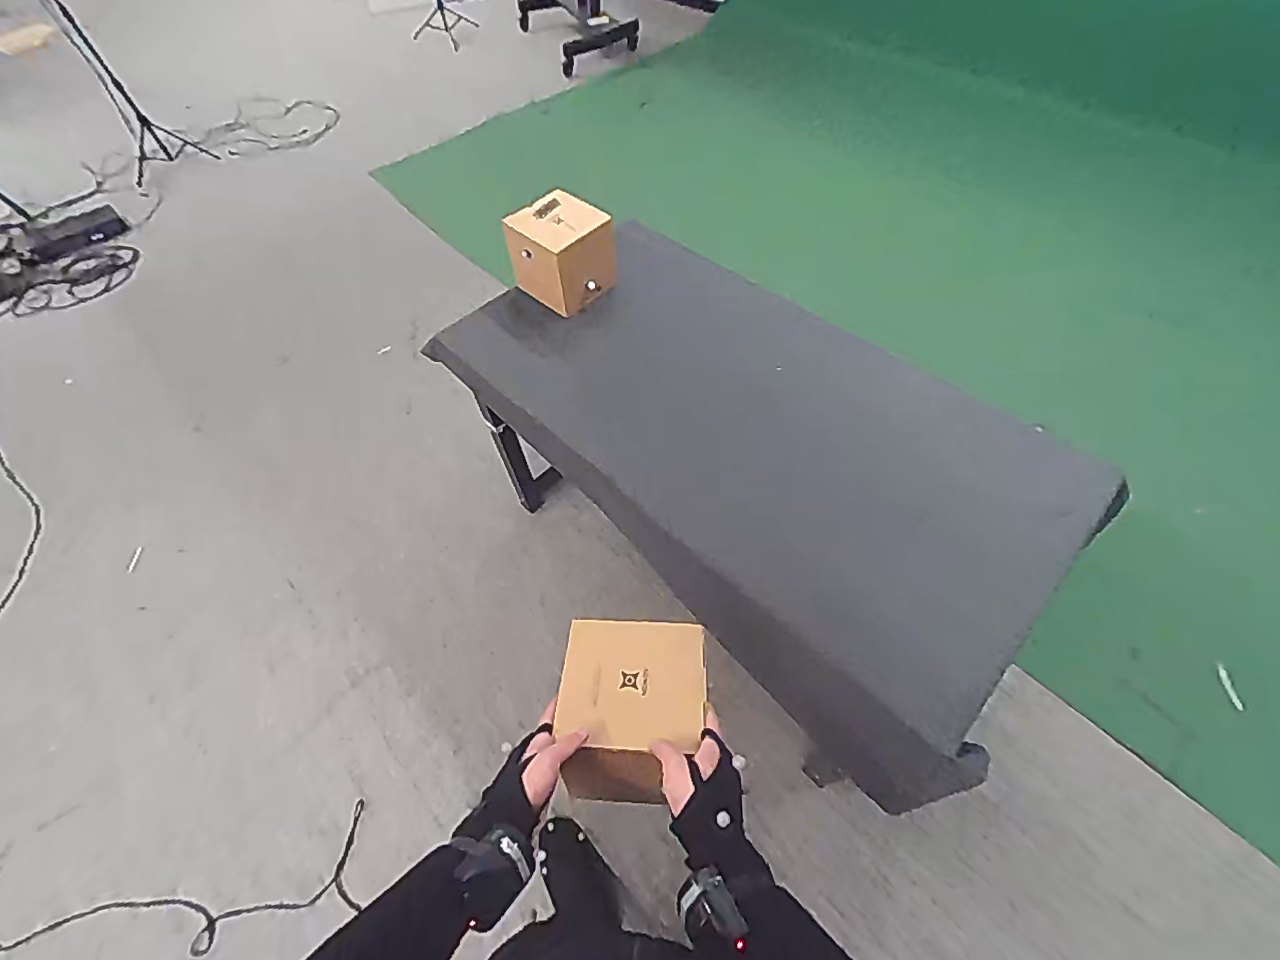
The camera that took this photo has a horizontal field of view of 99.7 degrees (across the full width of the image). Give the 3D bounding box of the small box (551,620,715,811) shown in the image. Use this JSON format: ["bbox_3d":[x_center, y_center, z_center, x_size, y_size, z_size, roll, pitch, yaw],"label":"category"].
[{"bbox_3d":[-0.004,0.296,0.680,0.179,0.176,0.168,0,40,2],"label":"small box"}]

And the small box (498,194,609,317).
[{"bbox_3d":[-0.185,-0.494,1.201,0.179,0.176,0.168,37,63,21],"label":"small box"}]
